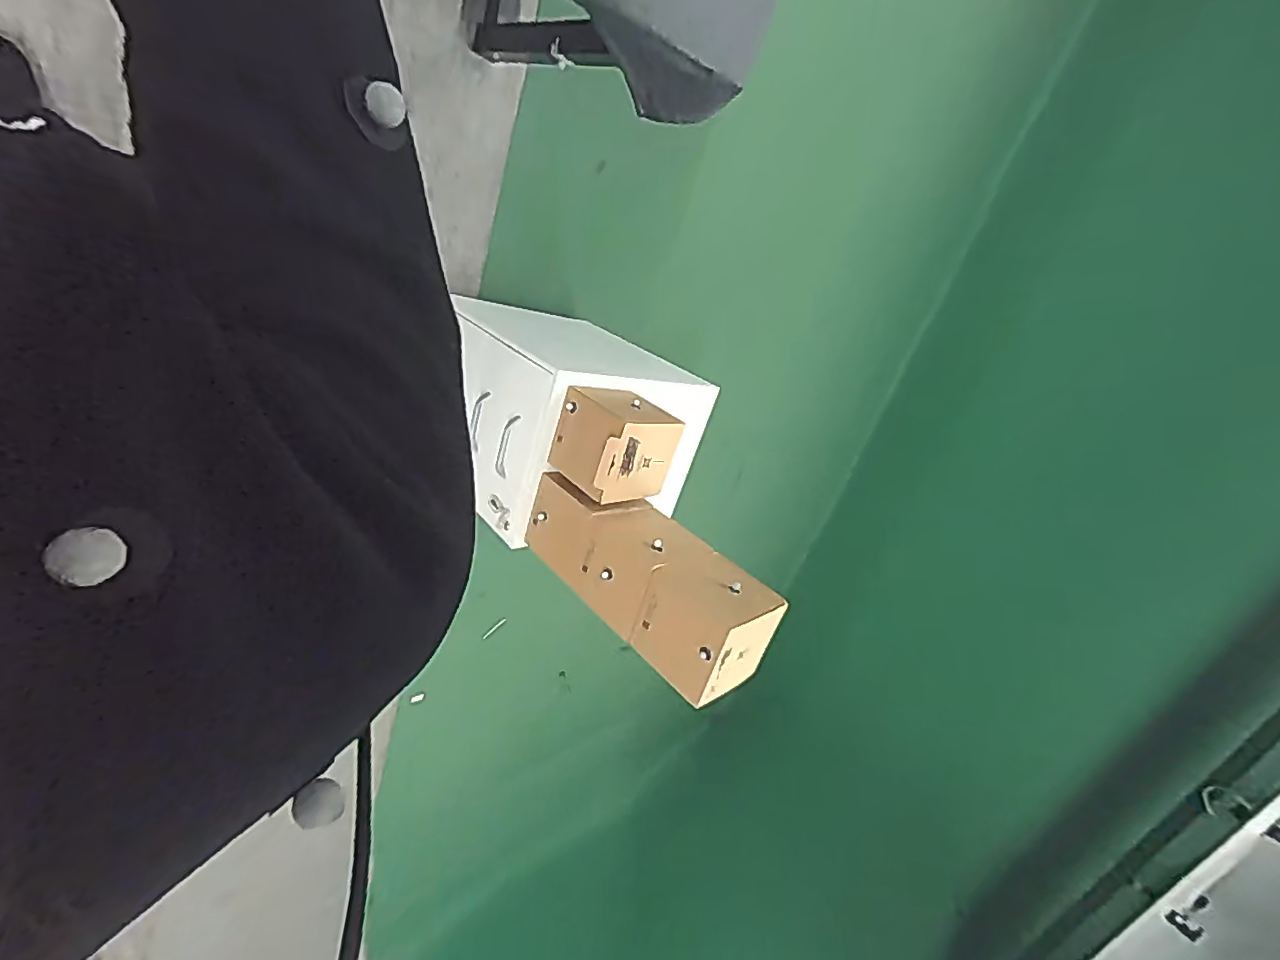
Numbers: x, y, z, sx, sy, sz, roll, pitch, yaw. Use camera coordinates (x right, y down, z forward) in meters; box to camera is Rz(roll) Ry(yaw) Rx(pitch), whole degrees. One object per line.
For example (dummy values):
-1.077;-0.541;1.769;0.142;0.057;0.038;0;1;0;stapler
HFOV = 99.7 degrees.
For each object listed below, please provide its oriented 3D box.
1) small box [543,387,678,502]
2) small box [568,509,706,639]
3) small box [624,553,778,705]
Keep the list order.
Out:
-0.063;-0.074;1.062;0.179;0.176;0.168;-6;123;-48;small box
-0.011;0.169;1.034;0.179;0.176;0.168;-5;121;-48;small box
0.104;0.247;0.946;0.179;0.176;0.168;-8;123;-48;small box
